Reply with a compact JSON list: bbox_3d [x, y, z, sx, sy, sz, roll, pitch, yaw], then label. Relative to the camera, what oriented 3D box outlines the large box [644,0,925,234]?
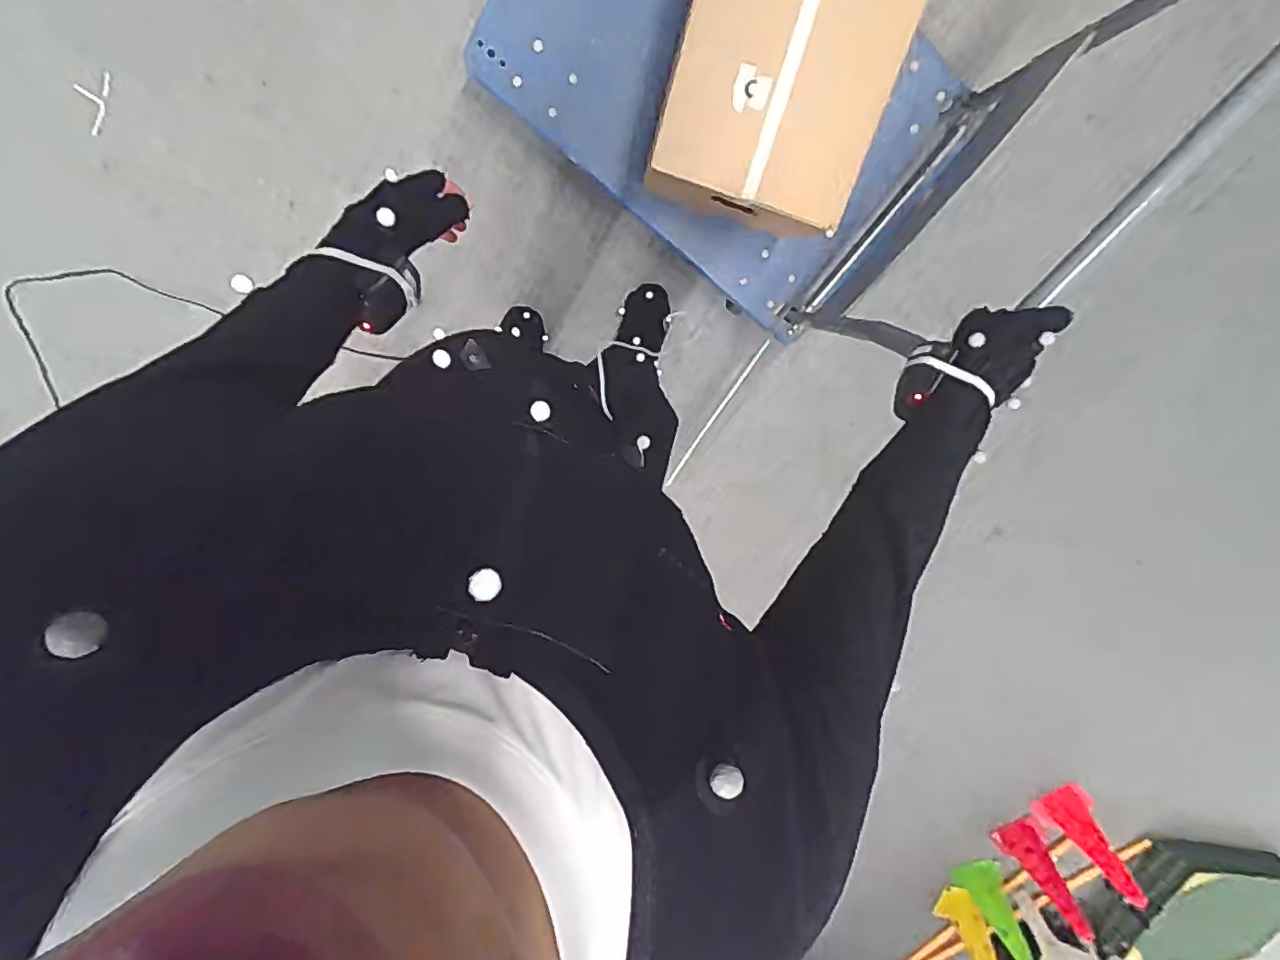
[{"bbox_3d":[0.214,-0.671,0.909,0.320,0.320,0.408,15,112,-9],"label":"large box"}]
